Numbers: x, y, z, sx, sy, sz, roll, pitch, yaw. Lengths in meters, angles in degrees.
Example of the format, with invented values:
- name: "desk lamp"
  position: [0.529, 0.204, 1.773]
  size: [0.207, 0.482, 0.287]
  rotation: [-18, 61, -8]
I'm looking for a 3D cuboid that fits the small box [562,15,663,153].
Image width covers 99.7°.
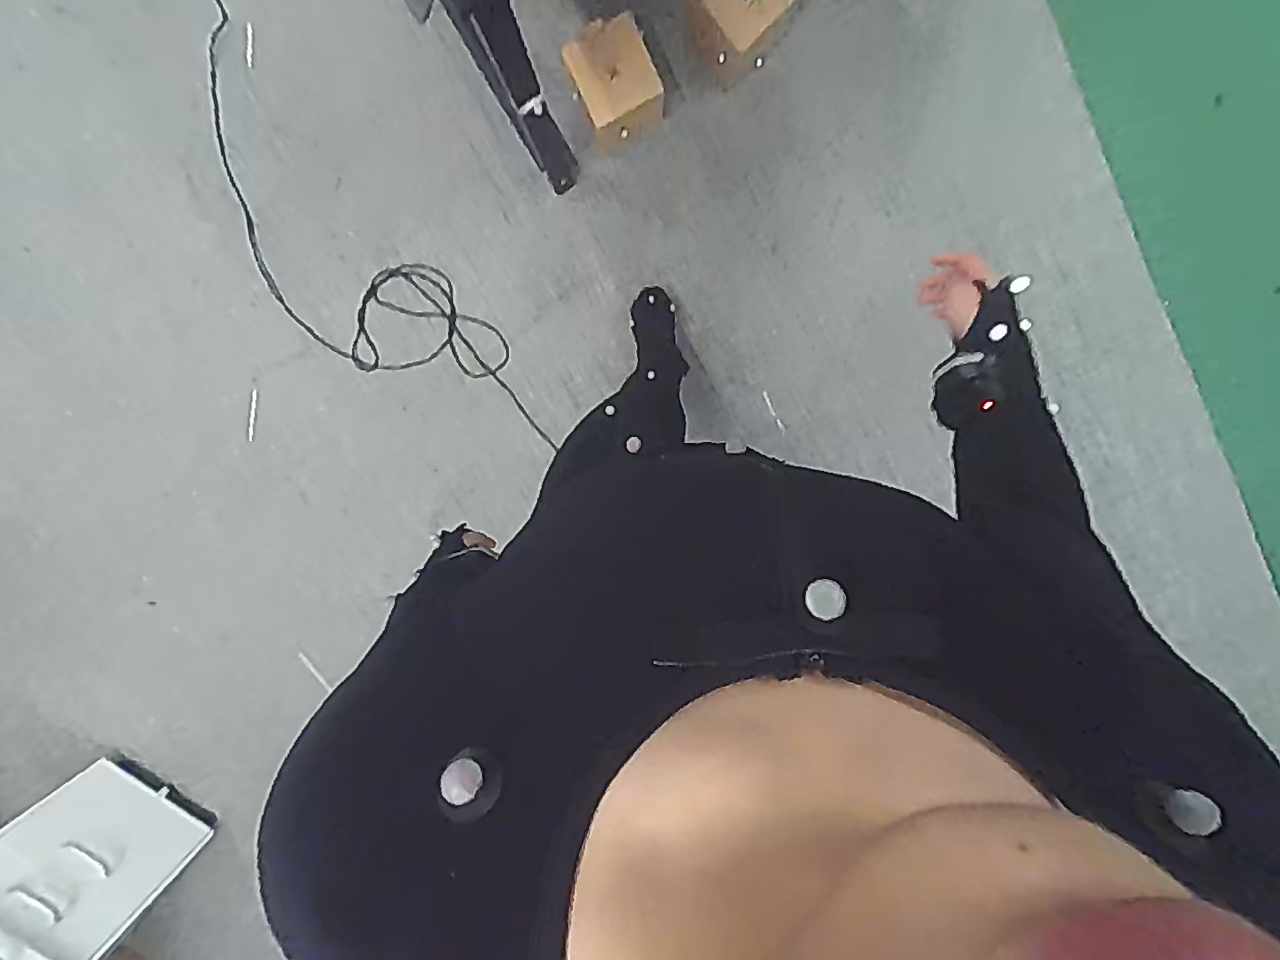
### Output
- name: "small box"
  position: [-0.056, -0.884, 1.235]
  size: [0.168, 0.176, 0.179]
  rotation: [-26, 99, 5]
